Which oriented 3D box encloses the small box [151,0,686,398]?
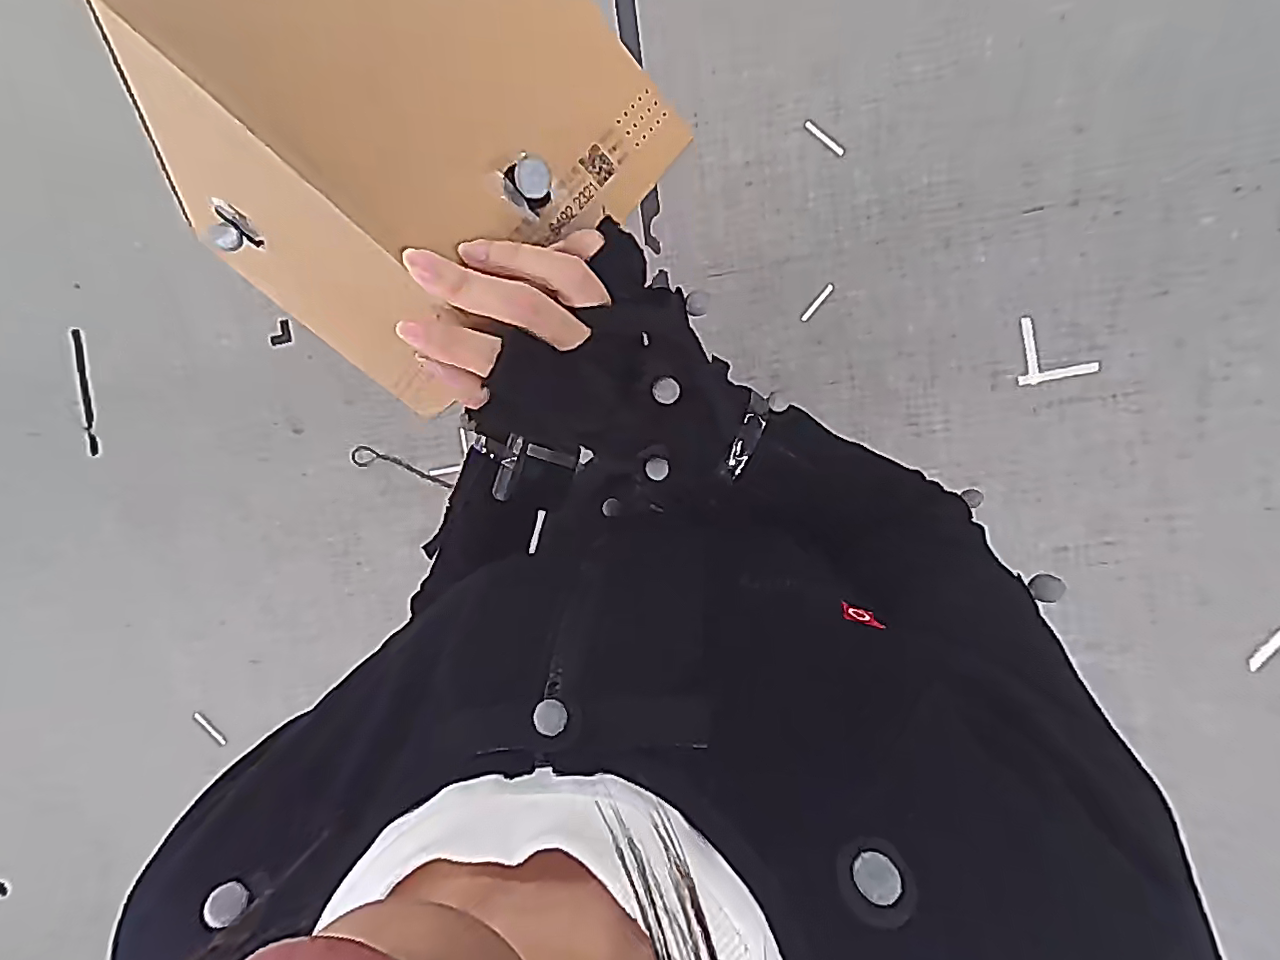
[{"bbox_3d":[-0.109,-0.167,0.311,0.176,0.179,0.168,41,68,-23],"label":"small box"}]
